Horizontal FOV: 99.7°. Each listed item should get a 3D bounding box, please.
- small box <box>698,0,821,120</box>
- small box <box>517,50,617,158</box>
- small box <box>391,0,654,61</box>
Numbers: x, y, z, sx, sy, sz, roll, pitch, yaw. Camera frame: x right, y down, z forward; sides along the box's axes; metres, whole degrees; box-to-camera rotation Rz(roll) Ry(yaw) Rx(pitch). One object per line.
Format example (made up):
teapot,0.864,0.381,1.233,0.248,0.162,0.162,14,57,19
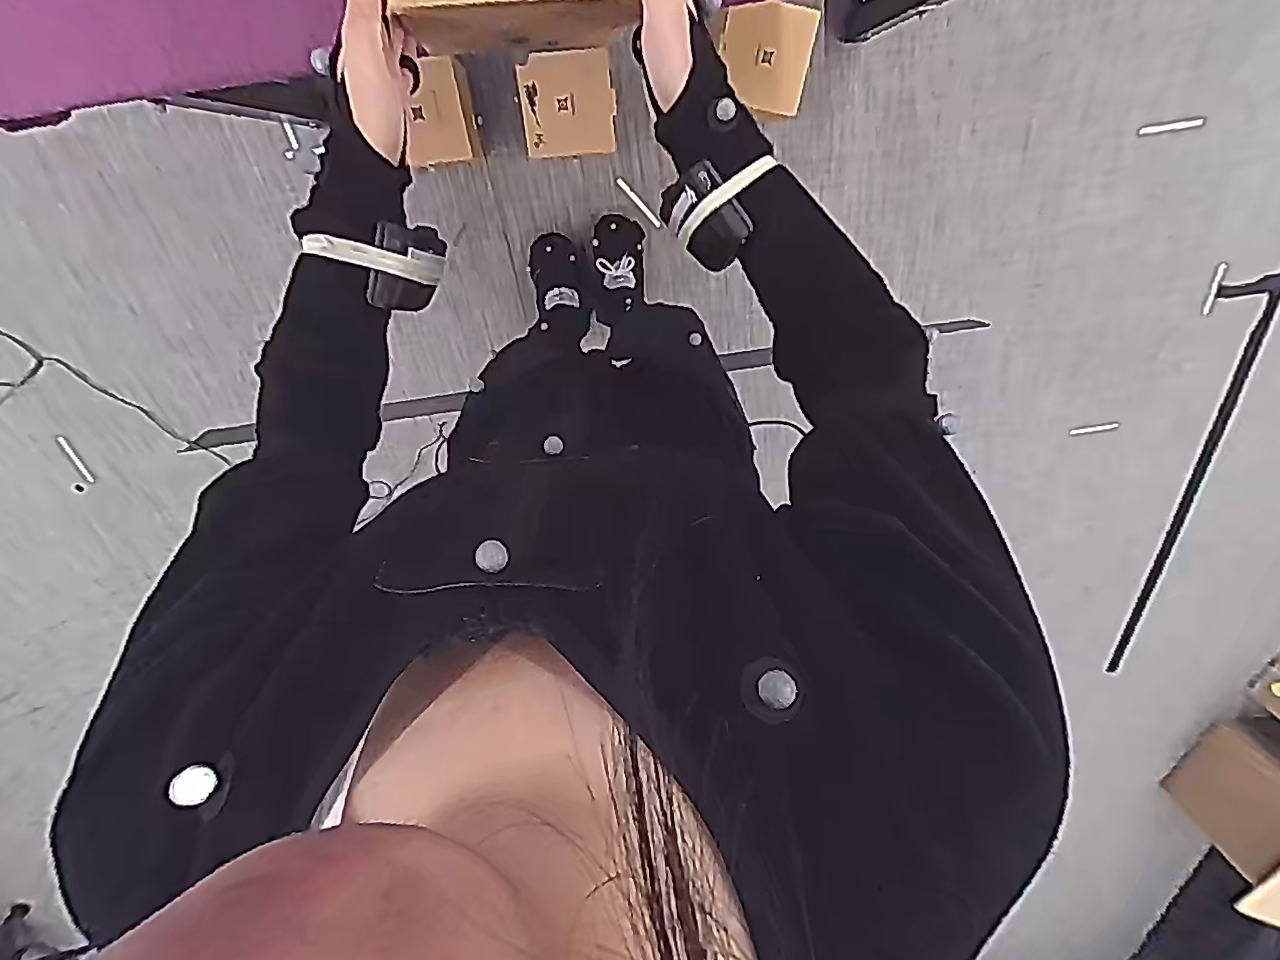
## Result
small box,0.228,-0.833,1.081,0.179,0.176,0.168,6,119,-8
small box,-0.143,-0.751,1.091,0.179,0.176,0.168,-5,120,-3
small box,-0.090,-0.406,0.361,0.168,0.176,0.179,-8,122,-7
